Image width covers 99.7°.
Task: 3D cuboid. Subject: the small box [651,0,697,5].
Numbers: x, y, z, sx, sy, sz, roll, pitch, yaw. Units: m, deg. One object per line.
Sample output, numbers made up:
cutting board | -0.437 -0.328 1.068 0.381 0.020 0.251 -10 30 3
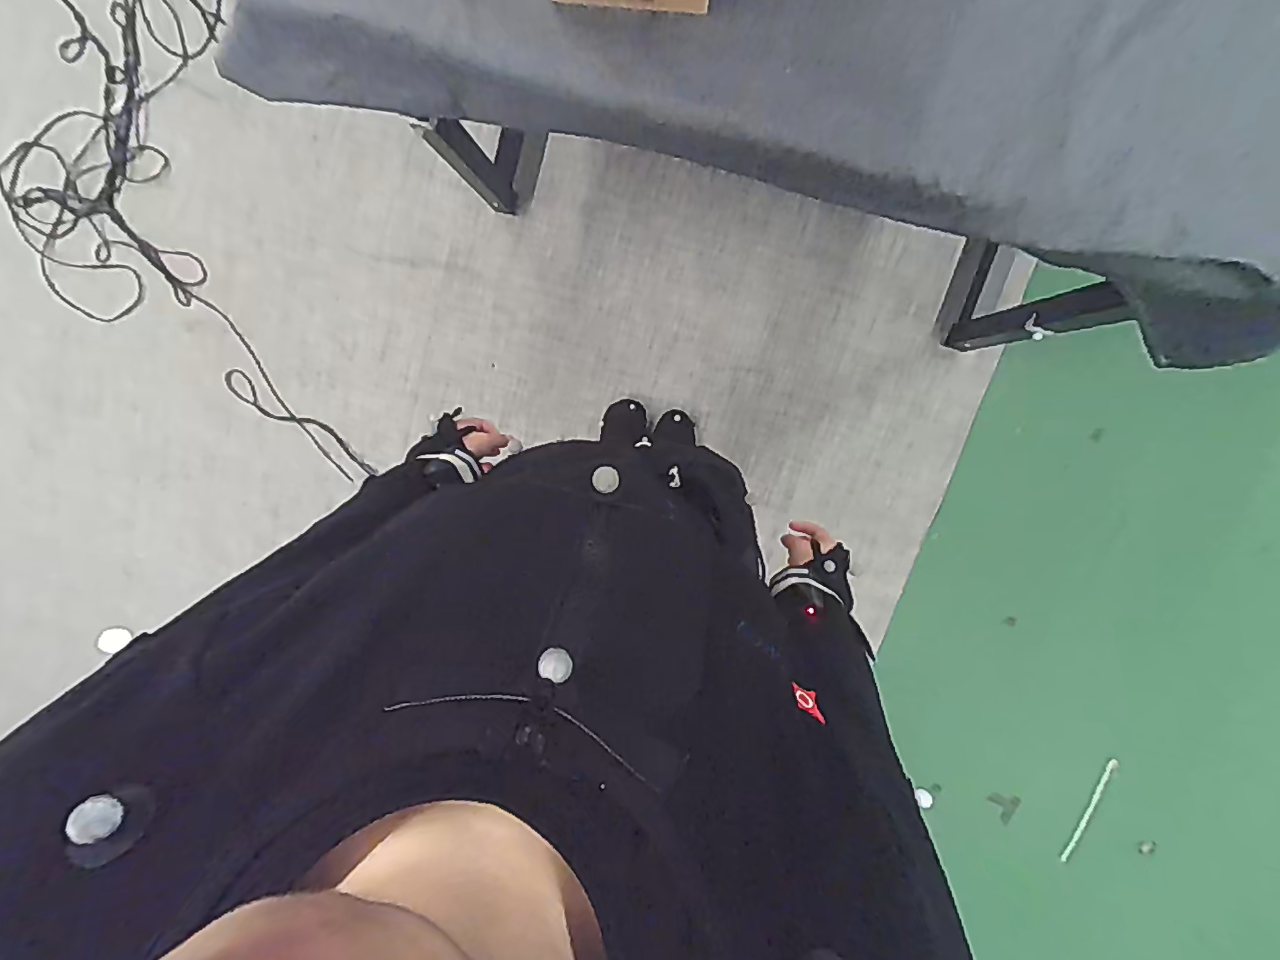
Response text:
small box | -0.007 -0.572 0.467 0.168 0.176 0.179 7 100 3
